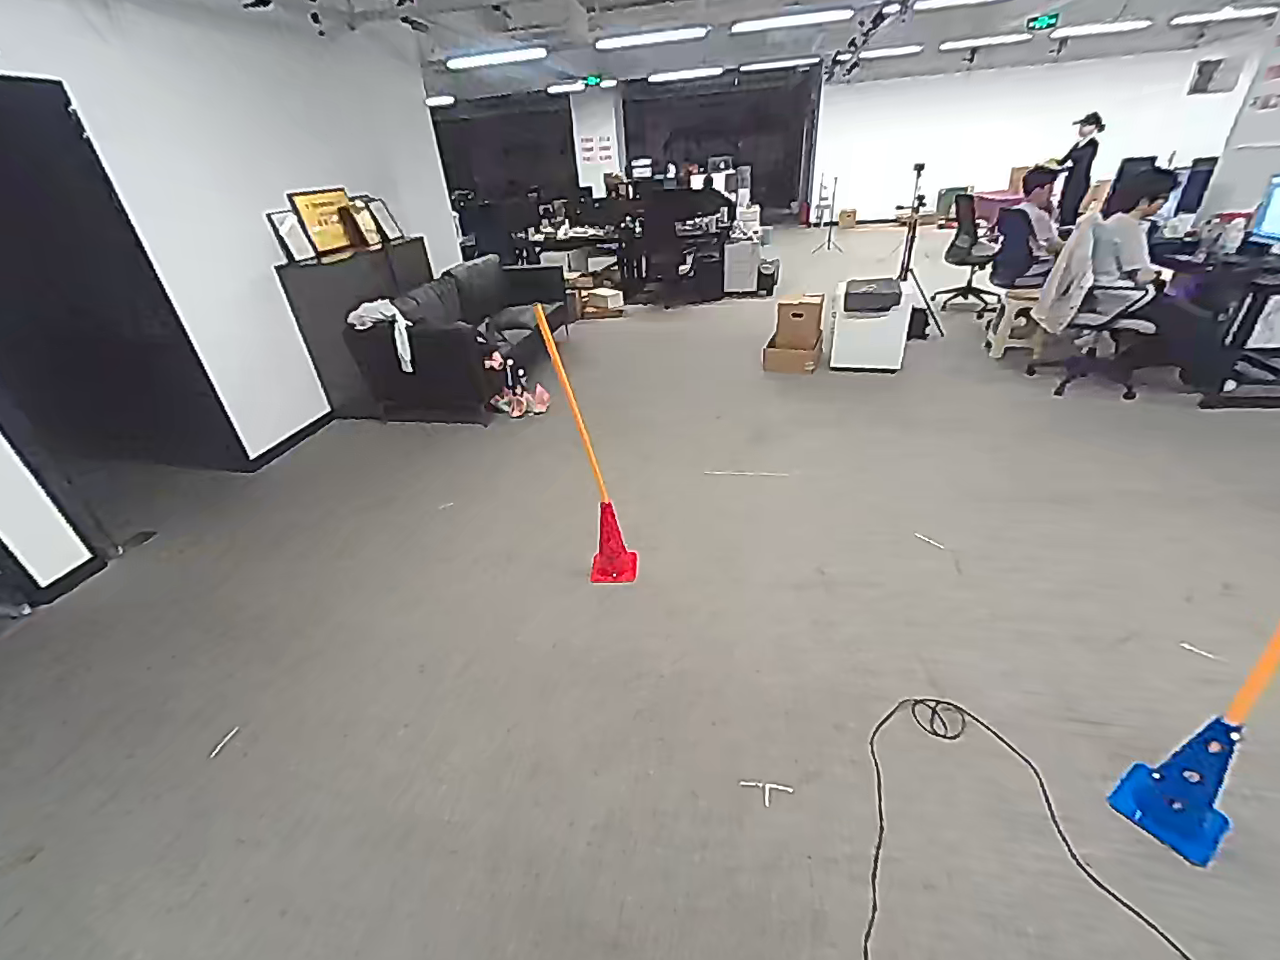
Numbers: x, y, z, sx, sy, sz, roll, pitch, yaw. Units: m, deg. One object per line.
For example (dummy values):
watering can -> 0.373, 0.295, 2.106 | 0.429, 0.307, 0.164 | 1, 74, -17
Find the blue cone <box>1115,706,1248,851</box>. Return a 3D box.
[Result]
blue cone -> 1.358, 0.687, 1.323 | 0.193, 0.380, 0.192 | -21, 33, -29
